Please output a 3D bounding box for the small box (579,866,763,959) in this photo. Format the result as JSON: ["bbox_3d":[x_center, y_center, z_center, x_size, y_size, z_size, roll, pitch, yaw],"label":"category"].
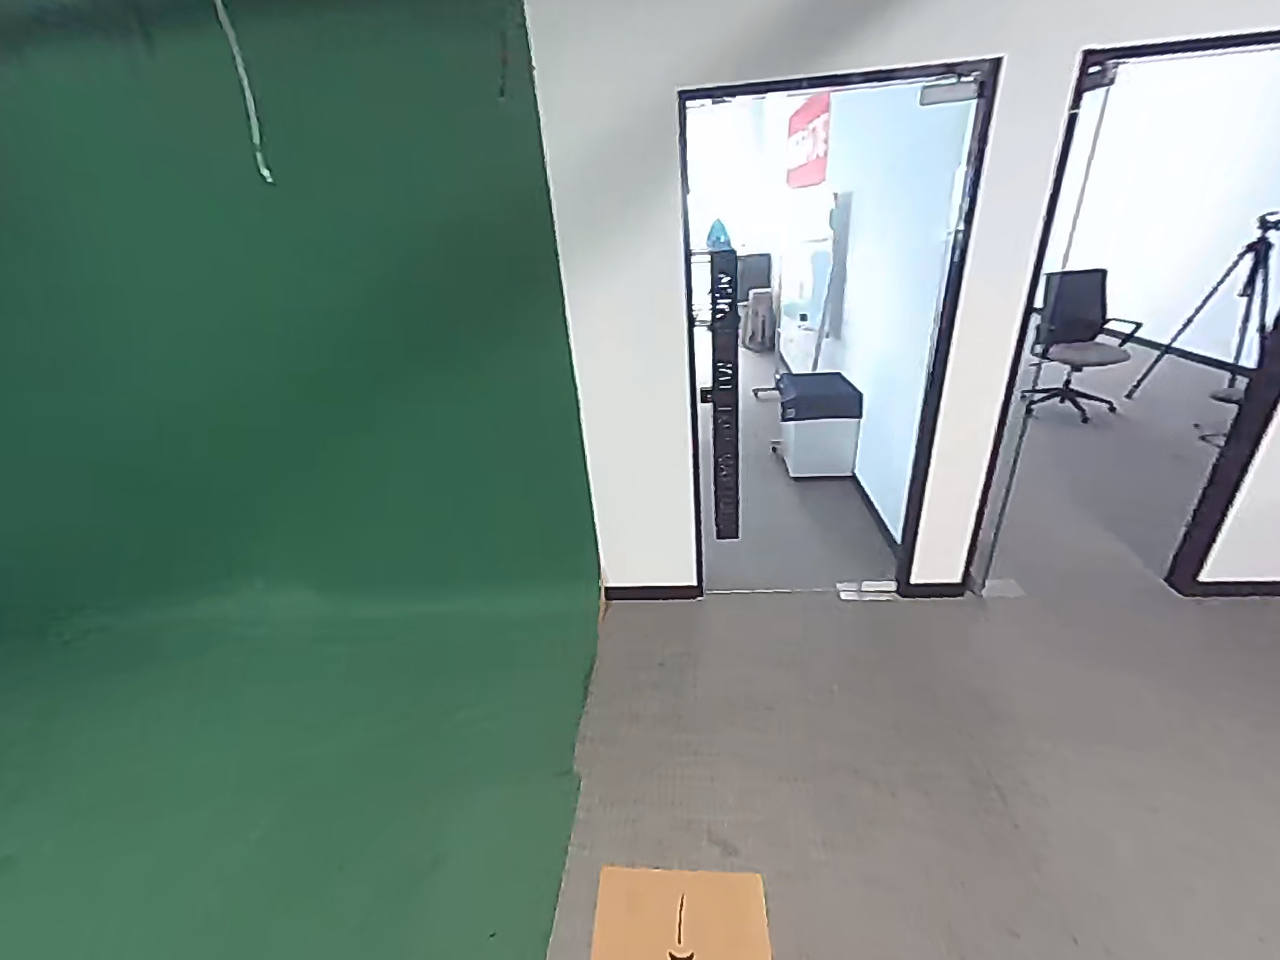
[{"bbox_3d":[0.032,0.500,0.503,0.168,0.176,0.179,-1,29,5],"label":"small box"}]
